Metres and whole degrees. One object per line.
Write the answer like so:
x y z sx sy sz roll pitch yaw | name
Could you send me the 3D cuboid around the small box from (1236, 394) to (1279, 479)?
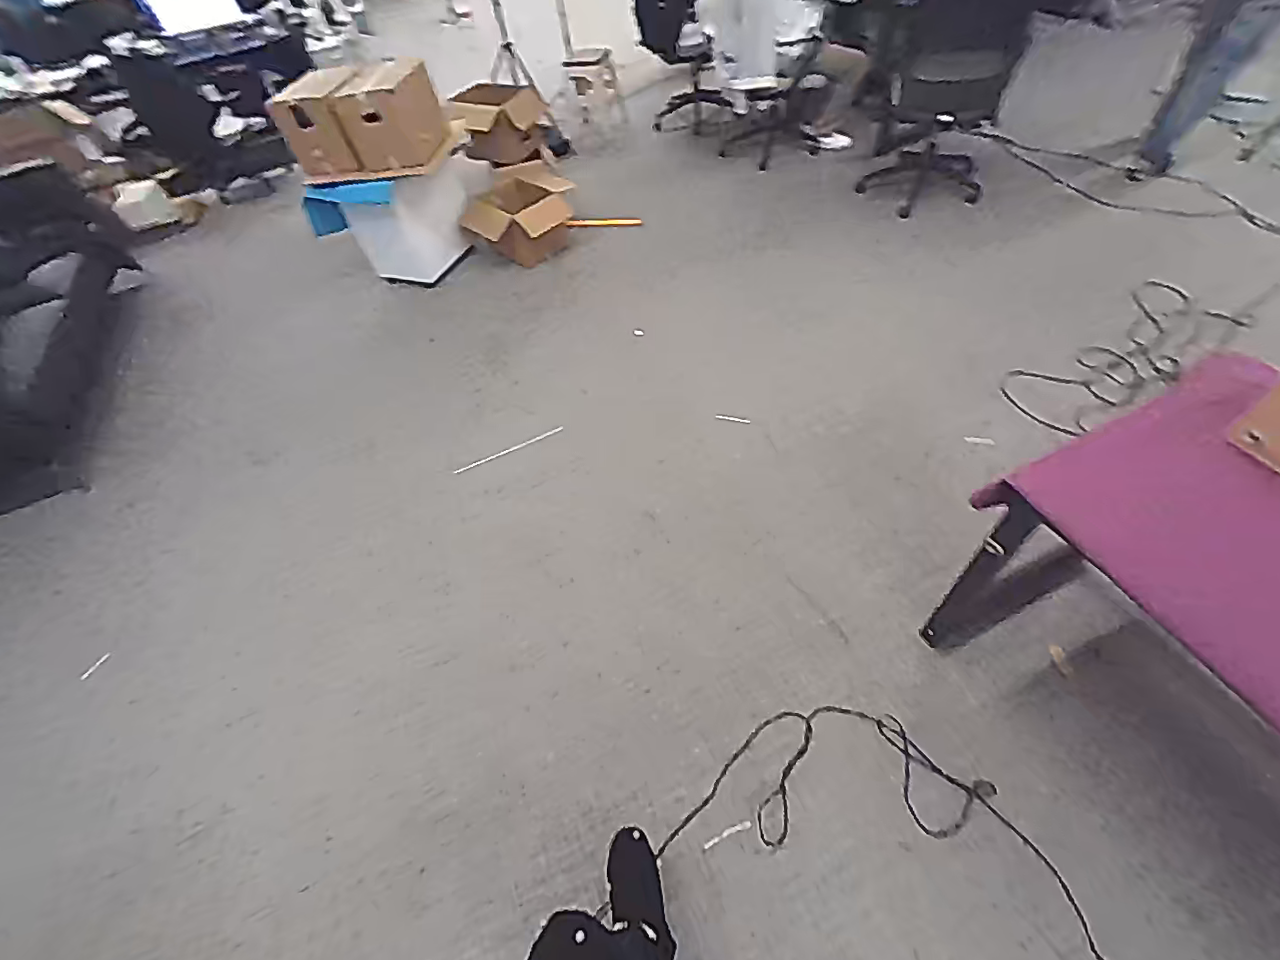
1.164 -0.085 0.888 0.179 0.176 0.168 -22 54 -8 | small box
